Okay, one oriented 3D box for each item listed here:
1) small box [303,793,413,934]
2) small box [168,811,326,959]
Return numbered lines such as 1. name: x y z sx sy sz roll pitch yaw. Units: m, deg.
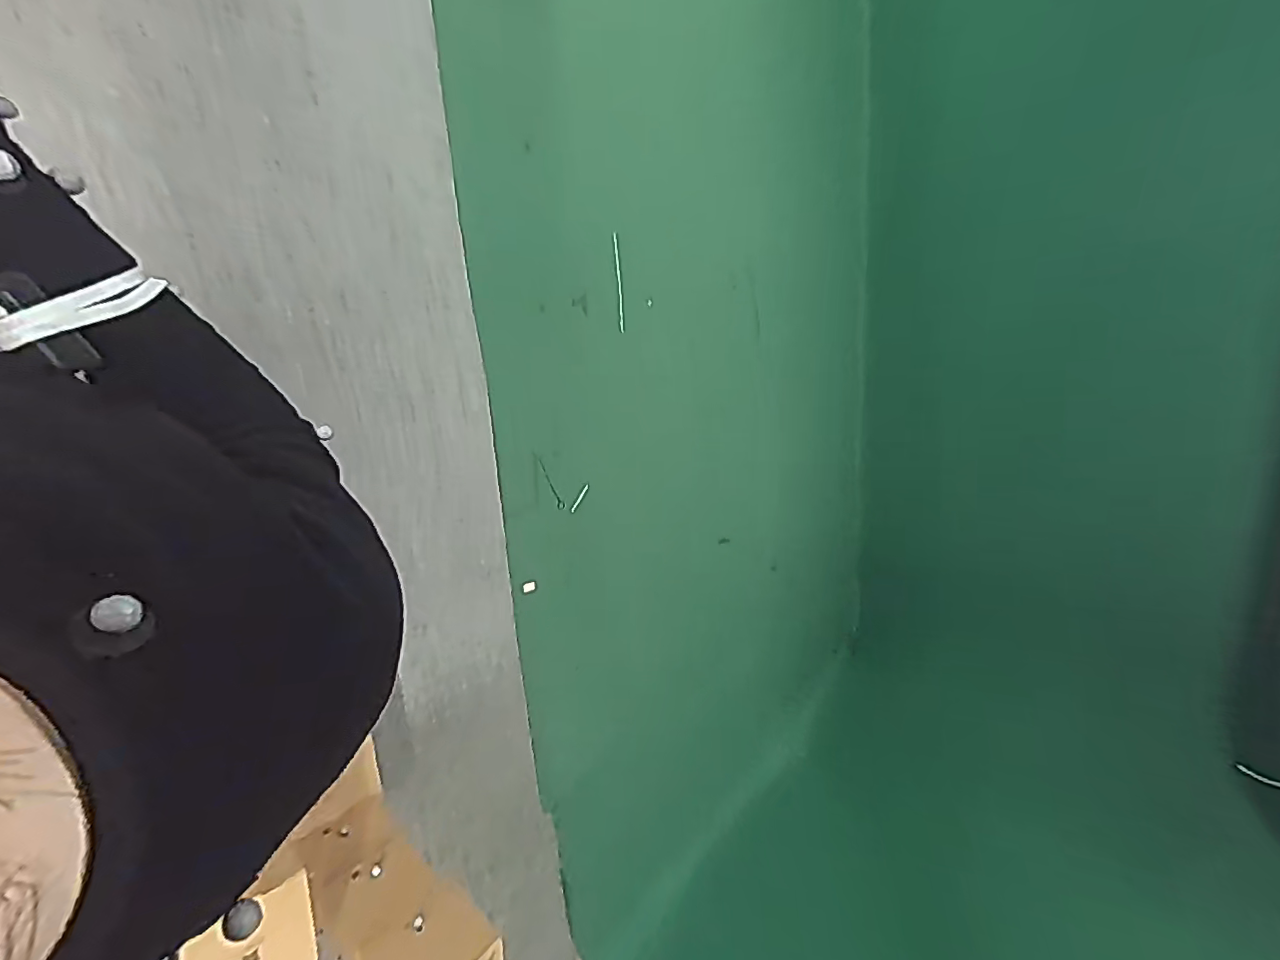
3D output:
1. small box: -0.603 0.834 1.174 0.168 0.176 0.179 -18 113 -47
2. small box: -0.628 0.685 0.867 0.168 0.176 0.179 -13 106 -46
